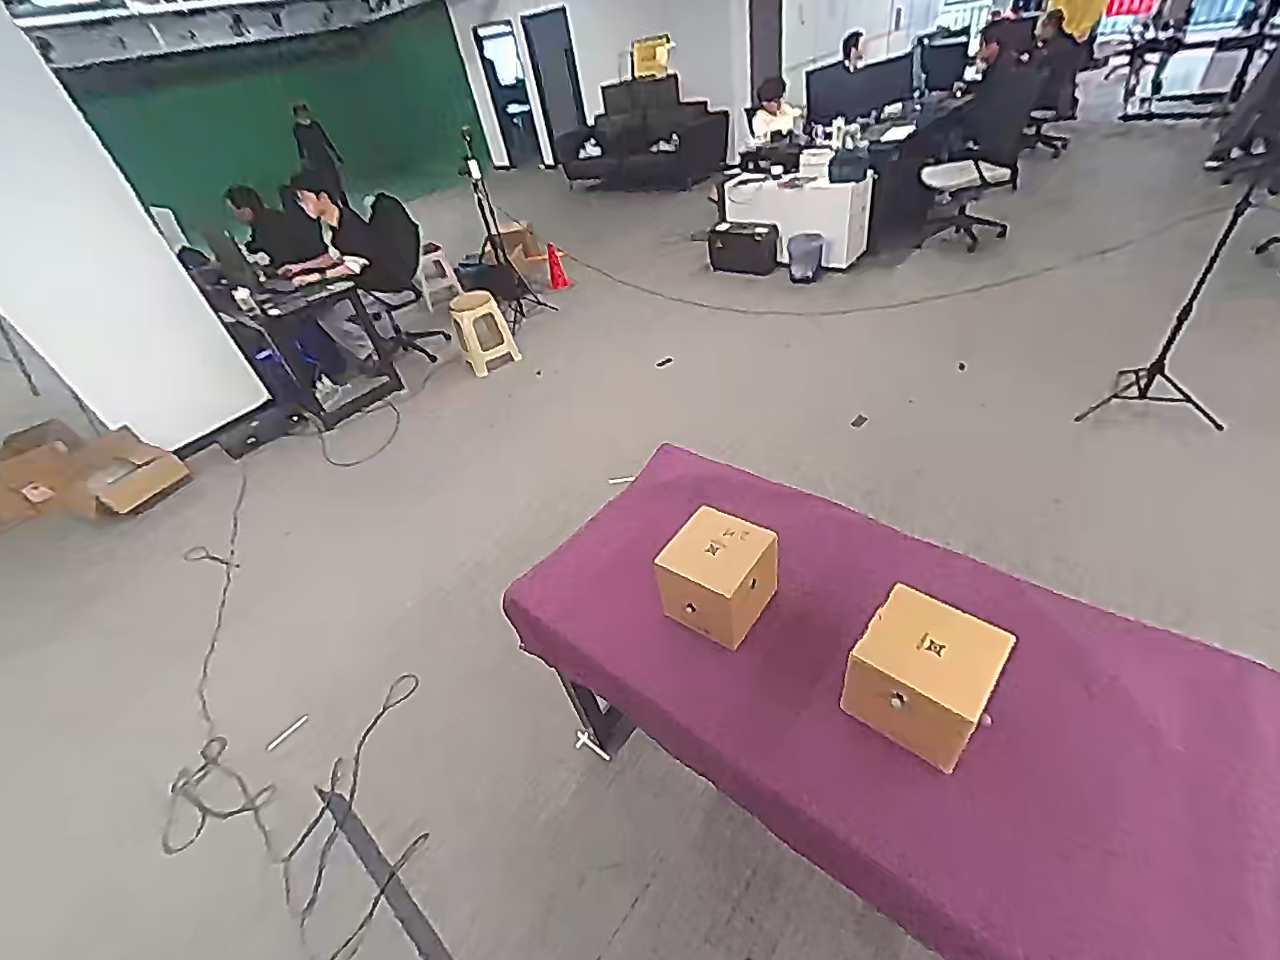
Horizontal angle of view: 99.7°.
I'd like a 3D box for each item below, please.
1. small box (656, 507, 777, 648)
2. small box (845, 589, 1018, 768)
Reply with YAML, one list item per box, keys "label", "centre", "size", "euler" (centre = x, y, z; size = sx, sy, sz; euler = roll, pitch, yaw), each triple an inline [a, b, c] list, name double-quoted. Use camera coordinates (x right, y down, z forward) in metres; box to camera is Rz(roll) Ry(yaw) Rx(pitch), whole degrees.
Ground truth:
- label: "small box"
  centre: [0.155, 0.189, 1.049]
  size: [0.168, 0.176, 0.179]
  euler: [22, 50, 33]
- label: "small box"
  centre: [0.442, 0.311, 0.840]
  size: [0.179, 0.176, 0.168]
  euler: [25, 52, 37]
